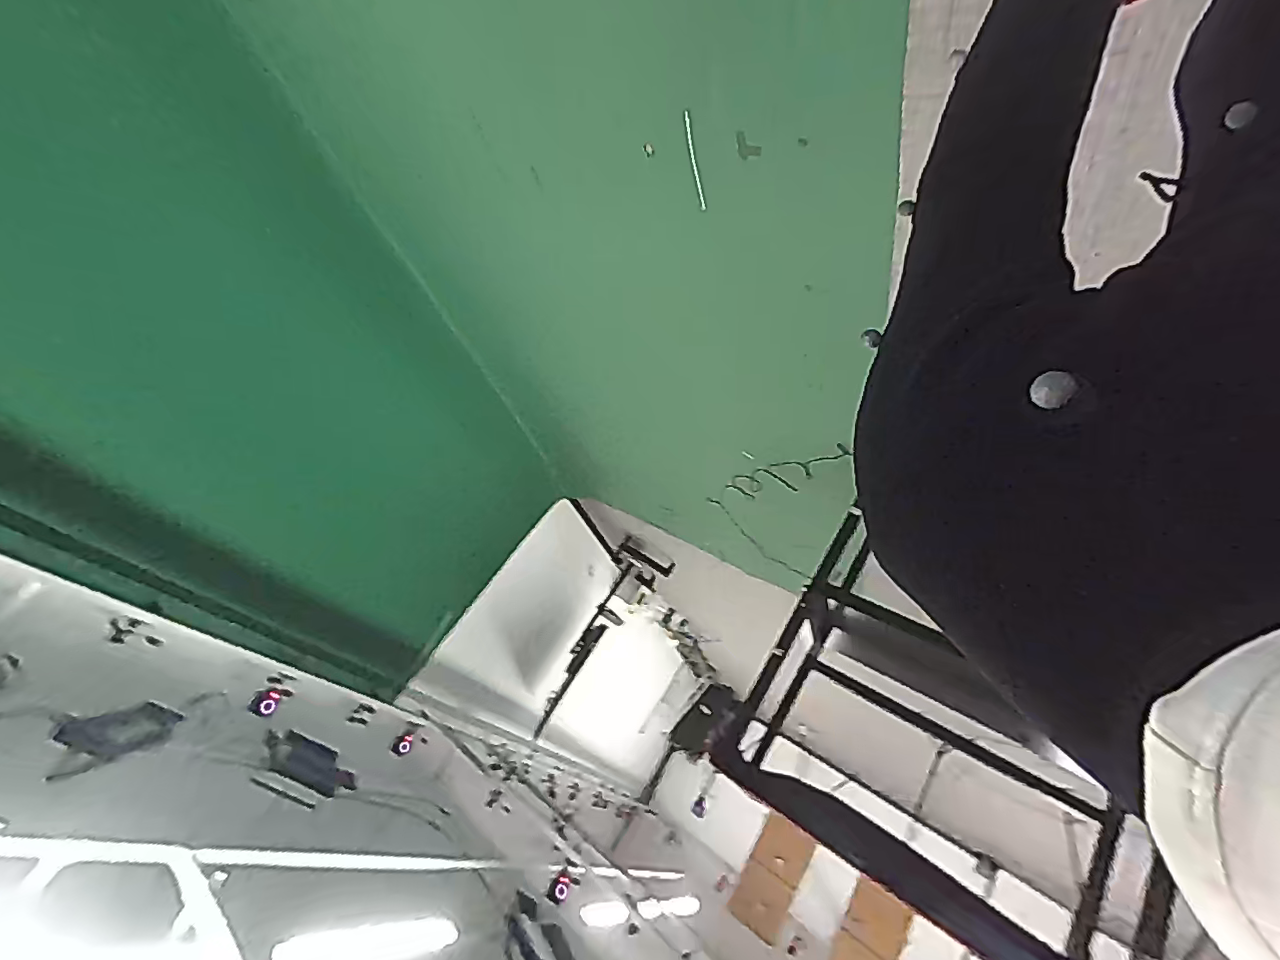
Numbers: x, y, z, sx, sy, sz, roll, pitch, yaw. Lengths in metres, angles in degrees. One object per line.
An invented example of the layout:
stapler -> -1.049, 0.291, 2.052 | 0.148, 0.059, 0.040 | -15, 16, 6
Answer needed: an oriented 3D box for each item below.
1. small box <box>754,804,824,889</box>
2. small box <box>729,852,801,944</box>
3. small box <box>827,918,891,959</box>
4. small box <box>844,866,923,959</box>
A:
small box -> 0.504, 1.225, 1.815 | 0.179, 0.176, 0.168 | 24, 157, 29
small box -> 0.414, 1.350, 1.760 | 0.179, 0.176, 0.168 | 22, 155, 30
small box -> 0.654, 1.453, 1.599 | 0.179, 0.176, 0.168 | 23, 156, 33
small box -> 0.745, 1.326, 1.653 | 0.179, 0.176, 0.168 | 22, 156, 34
